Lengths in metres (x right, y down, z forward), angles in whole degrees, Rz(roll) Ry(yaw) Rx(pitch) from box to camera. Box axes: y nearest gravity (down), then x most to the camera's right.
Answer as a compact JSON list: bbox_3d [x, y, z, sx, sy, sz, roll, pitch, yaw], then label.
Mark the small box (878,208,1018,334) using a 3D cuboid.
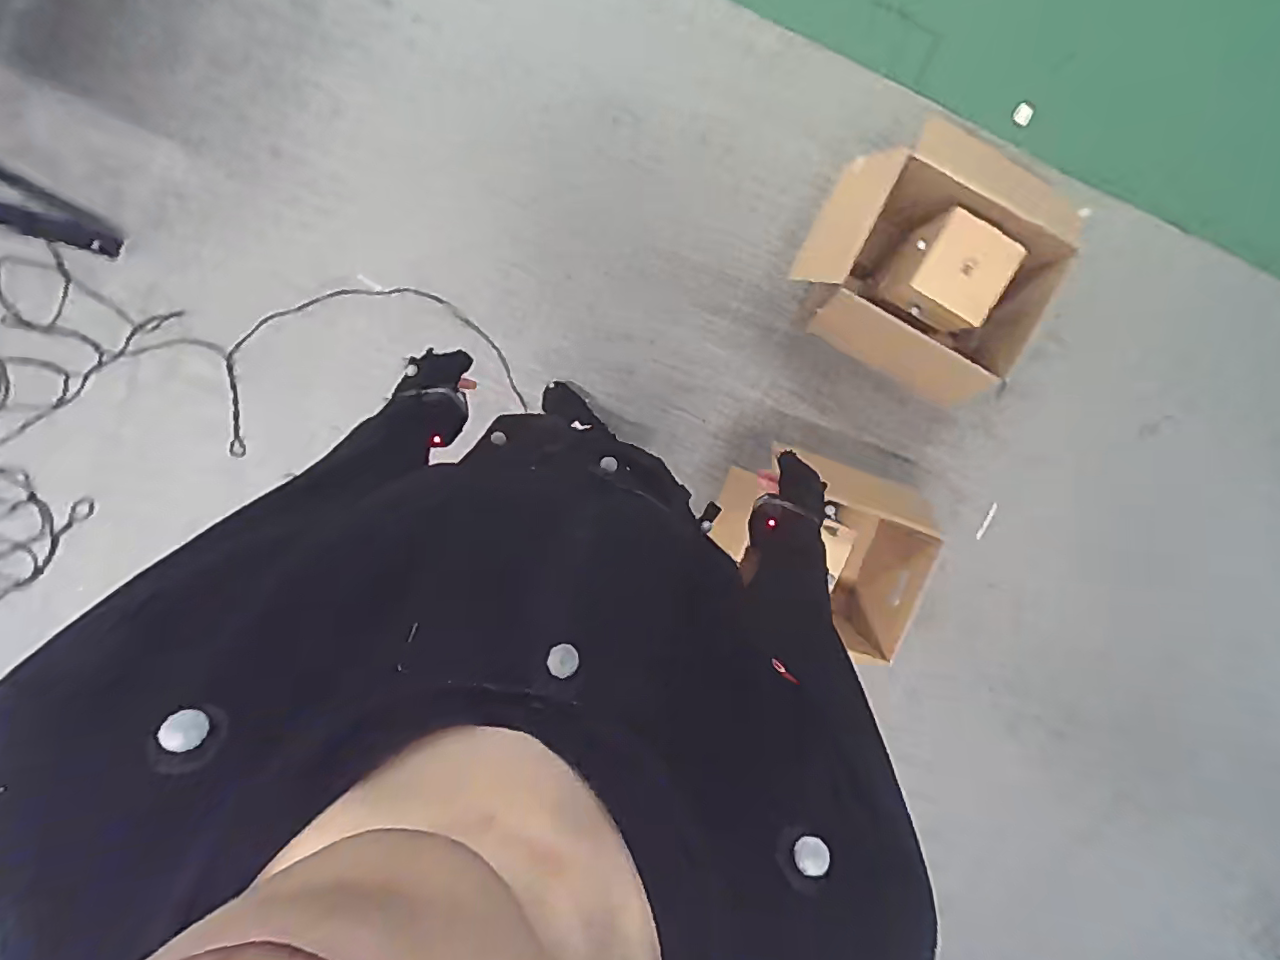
[{"bbox_3d":[0.646,-0.436,1.163,0.168,0.176,0.179,29,96,-4],"label":"small box"}]
